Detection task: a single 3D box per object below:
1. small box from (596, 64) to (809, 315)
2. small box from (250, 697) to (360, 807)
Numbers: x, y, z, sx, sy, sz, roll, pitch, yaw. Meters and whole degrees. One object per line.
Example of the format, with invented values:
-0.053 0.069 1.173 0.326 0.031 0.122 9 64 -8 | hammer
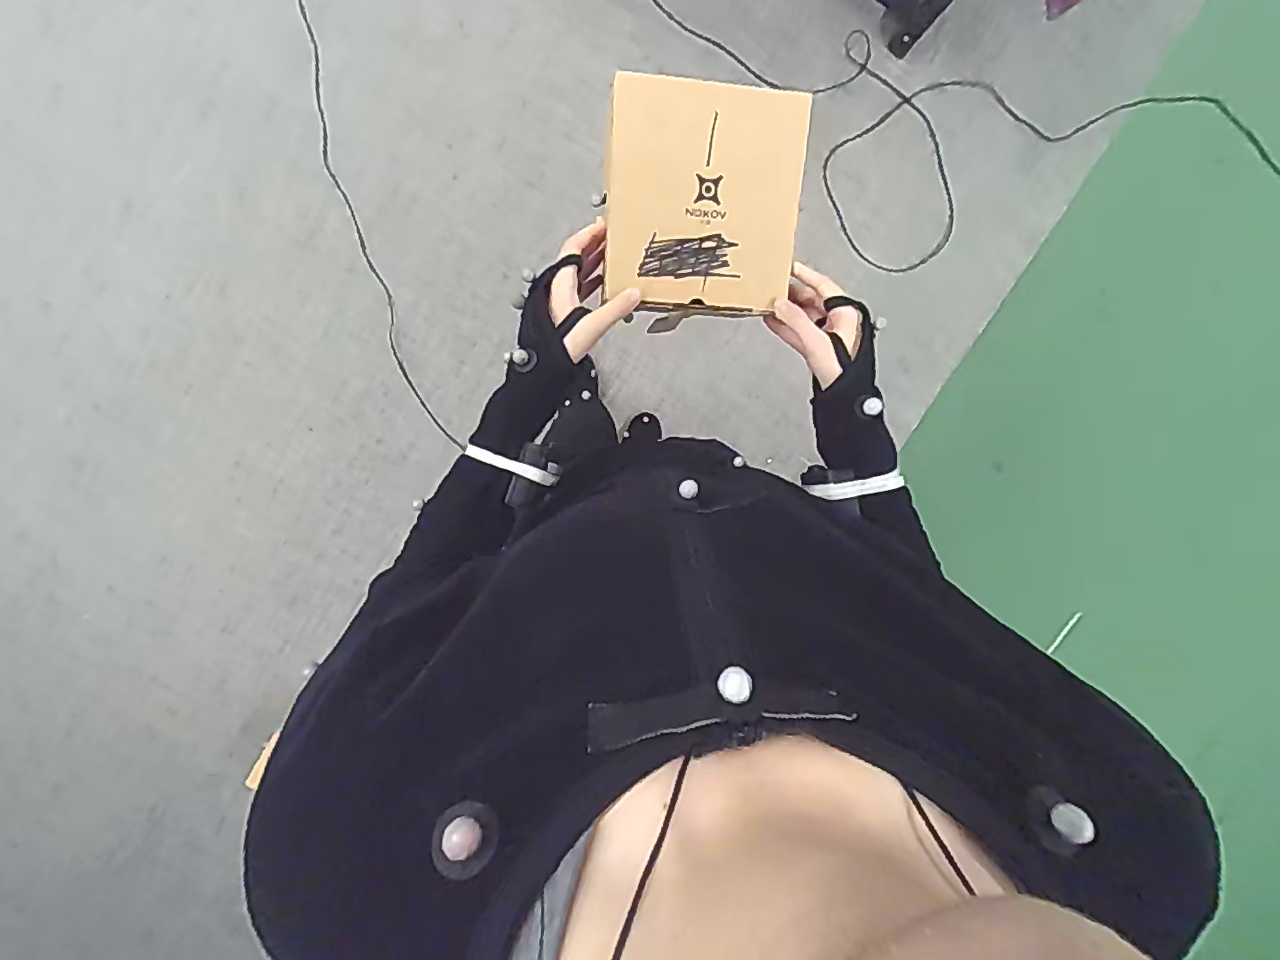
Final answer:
0.045 -0.261 0.534 0.168 0.176 0.179 2 104 -8 | small box
-0.916 0.745 1.498 0.168 0.176 0.179 32 95 -8 | small box
